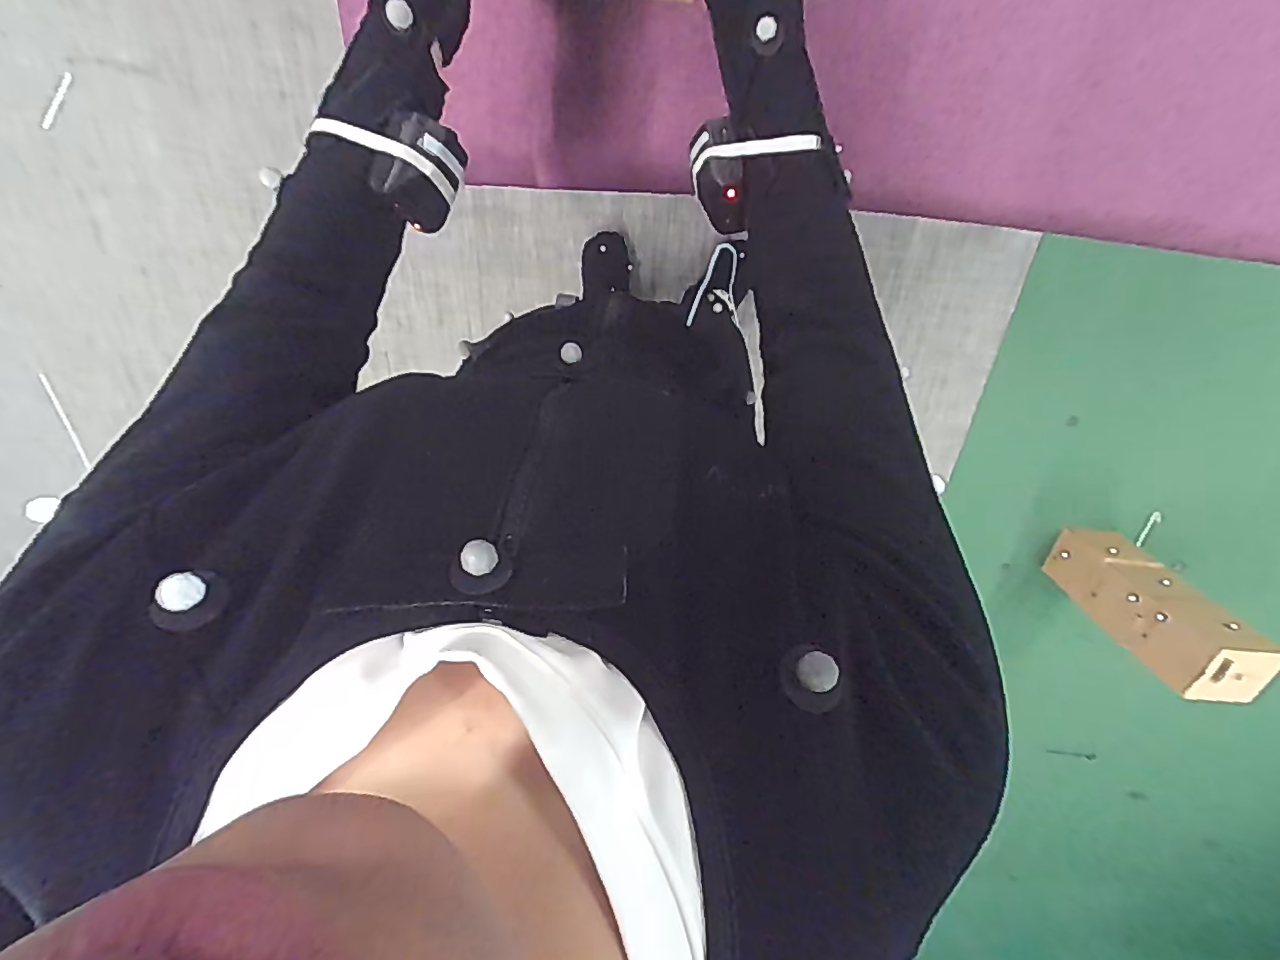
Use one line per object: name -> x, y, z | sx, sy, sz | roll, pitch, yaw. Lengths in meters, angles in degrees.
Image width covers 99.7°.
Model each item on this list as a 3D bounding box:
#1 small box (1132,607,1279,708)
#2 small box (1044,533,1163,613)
small box -> 1.387, 0.431, 1.329 | 0.179, 0.176, 0.168 | 5, 118, -3
small box -> 1.376, 0.275, 1.619 | 0.179, 0.176, 0.168 | 6, 118, -2
